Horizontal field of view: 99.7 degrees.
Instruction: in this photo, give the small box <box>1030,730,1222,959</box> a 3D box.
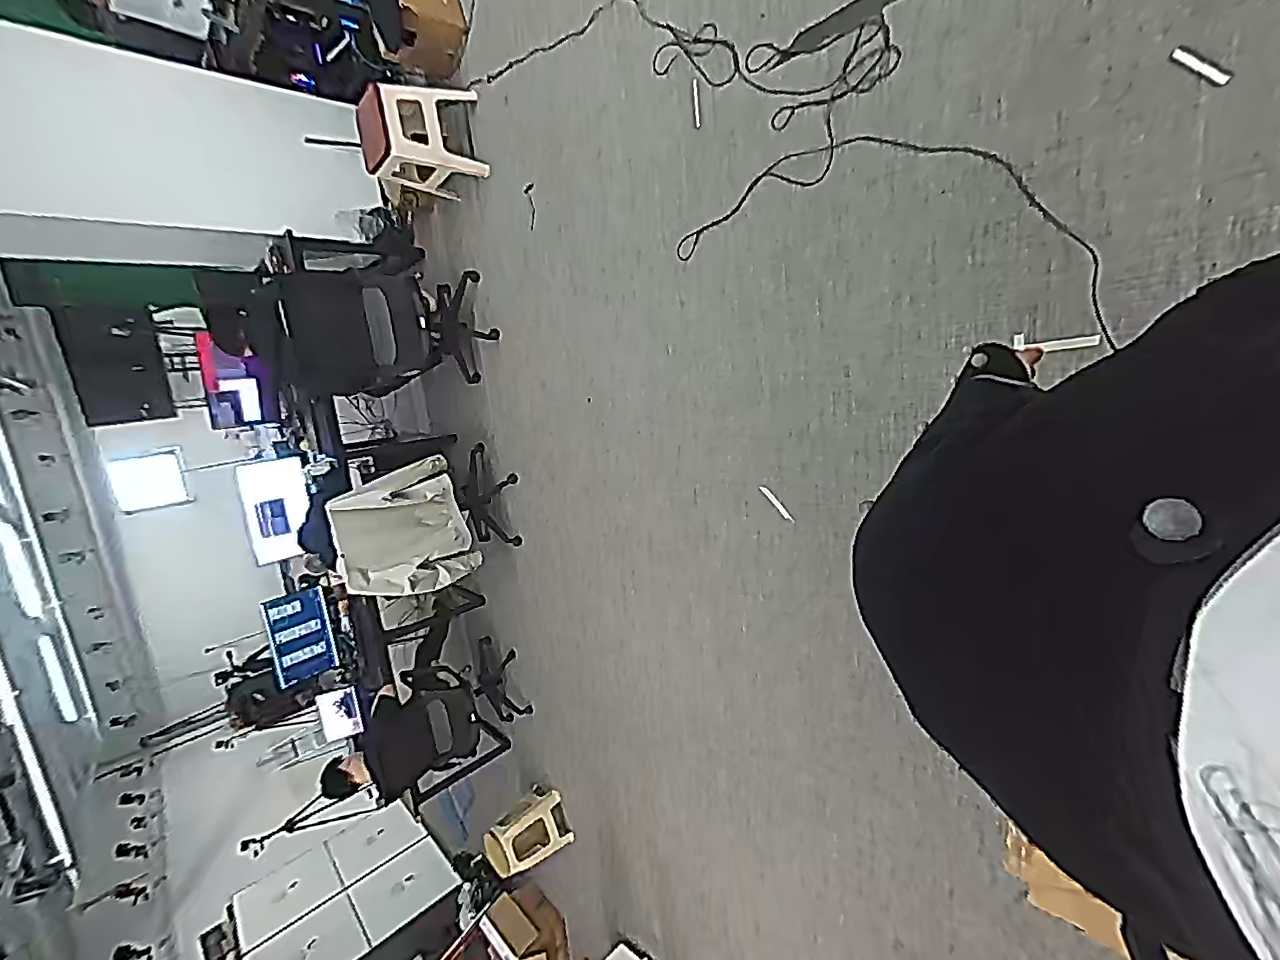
[{"bbox_3d":[0.629,0.469,0.703,0.168,0.176,0.179,5,104,45],"label":"small box"}]
